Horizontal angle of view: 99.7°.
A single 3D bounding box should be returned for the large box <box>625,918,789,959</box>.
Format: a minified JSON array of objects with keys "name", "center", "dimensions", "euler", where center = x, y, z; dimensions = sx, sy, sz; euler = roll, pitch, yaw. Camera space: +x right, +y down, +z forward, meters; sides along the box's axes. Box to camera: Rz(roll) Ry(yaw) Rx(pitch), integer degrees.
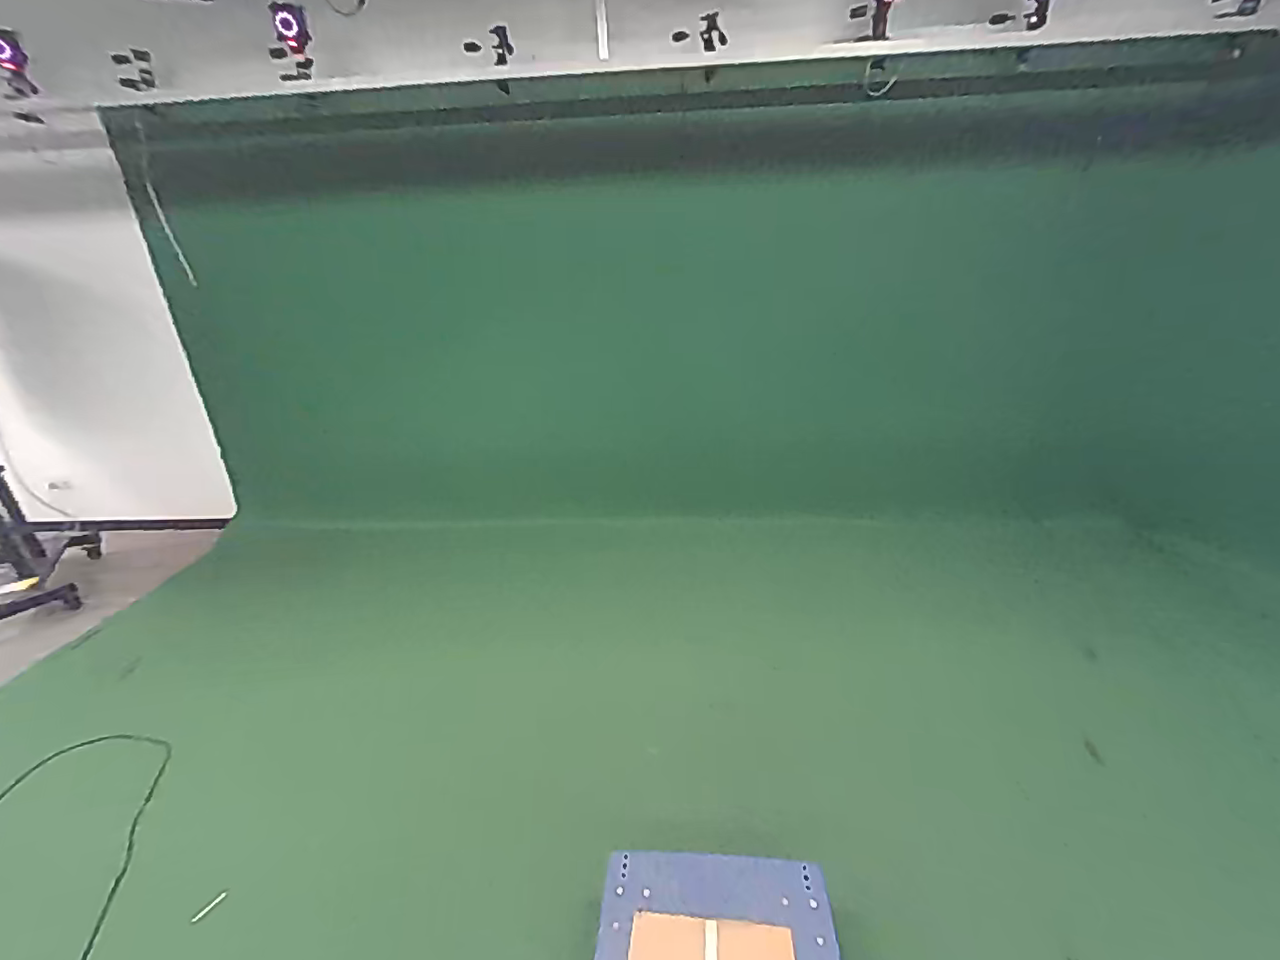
[{"name":"large box","center":[0.117,1.096,0.942],"dimensions":[0.320,0.320,0.408],"euler":[1,21,8]}]
